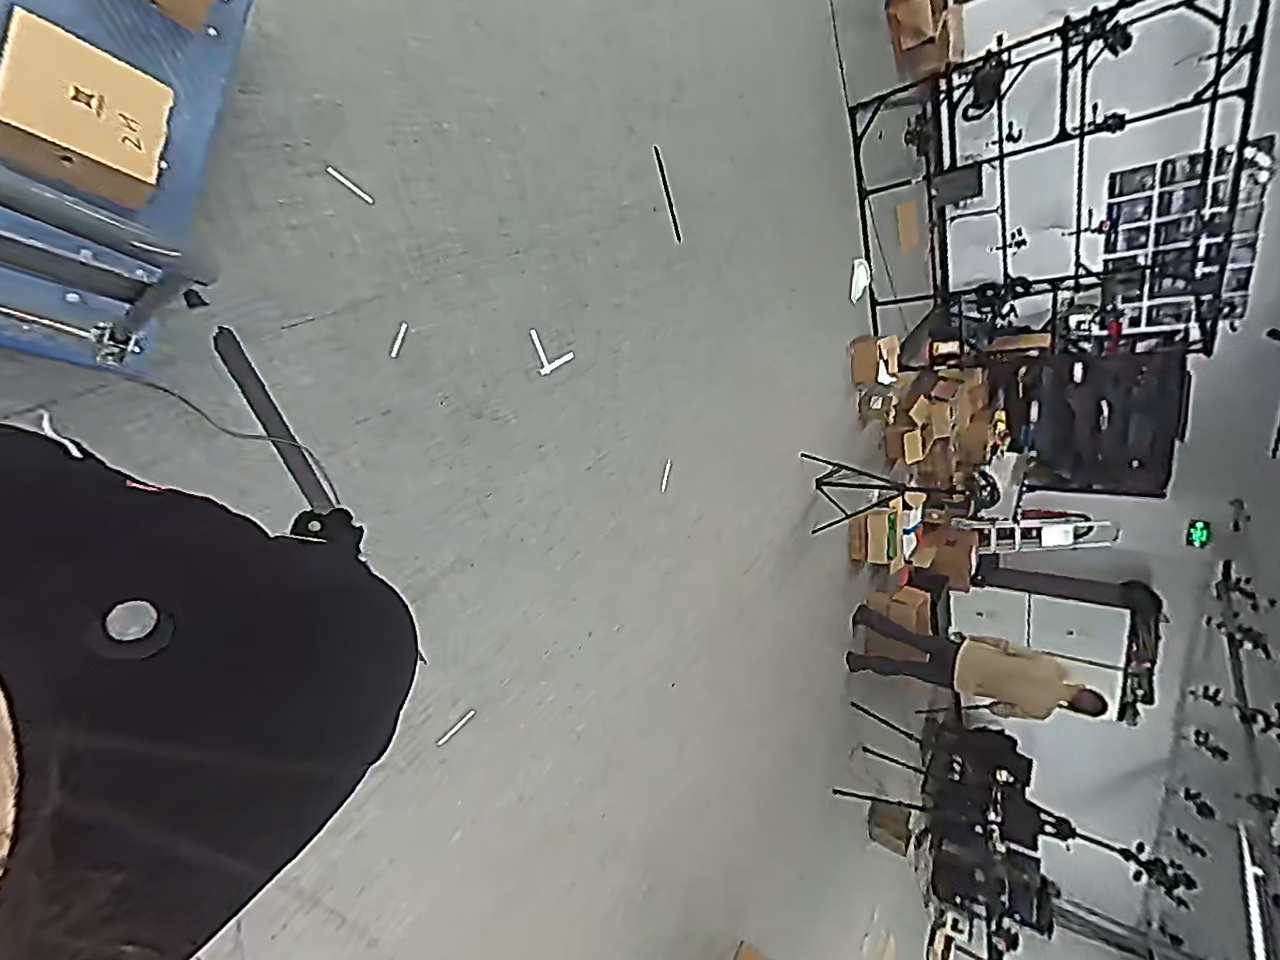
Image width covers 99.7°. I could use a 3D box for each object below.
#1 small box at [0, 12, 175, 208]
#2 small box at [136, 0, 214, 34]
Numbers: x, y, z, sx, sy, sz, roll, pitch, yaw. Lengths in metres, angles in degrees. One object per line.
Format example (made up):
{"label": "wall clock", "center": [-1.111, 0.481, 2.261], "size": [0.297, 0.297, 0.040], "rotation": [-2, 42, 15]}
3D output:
{"label": "small box", "center": [-0.885, -0.565, 0.861], "size": [0.179, 0.176, 0.168], "rotation": [13, 83, -49]}
{"label": "small box", "center": [-0.812, -0.925, 0.914], "size": [0.168, 0.176, 0.179], "rotation": [19, 80, -49]}
